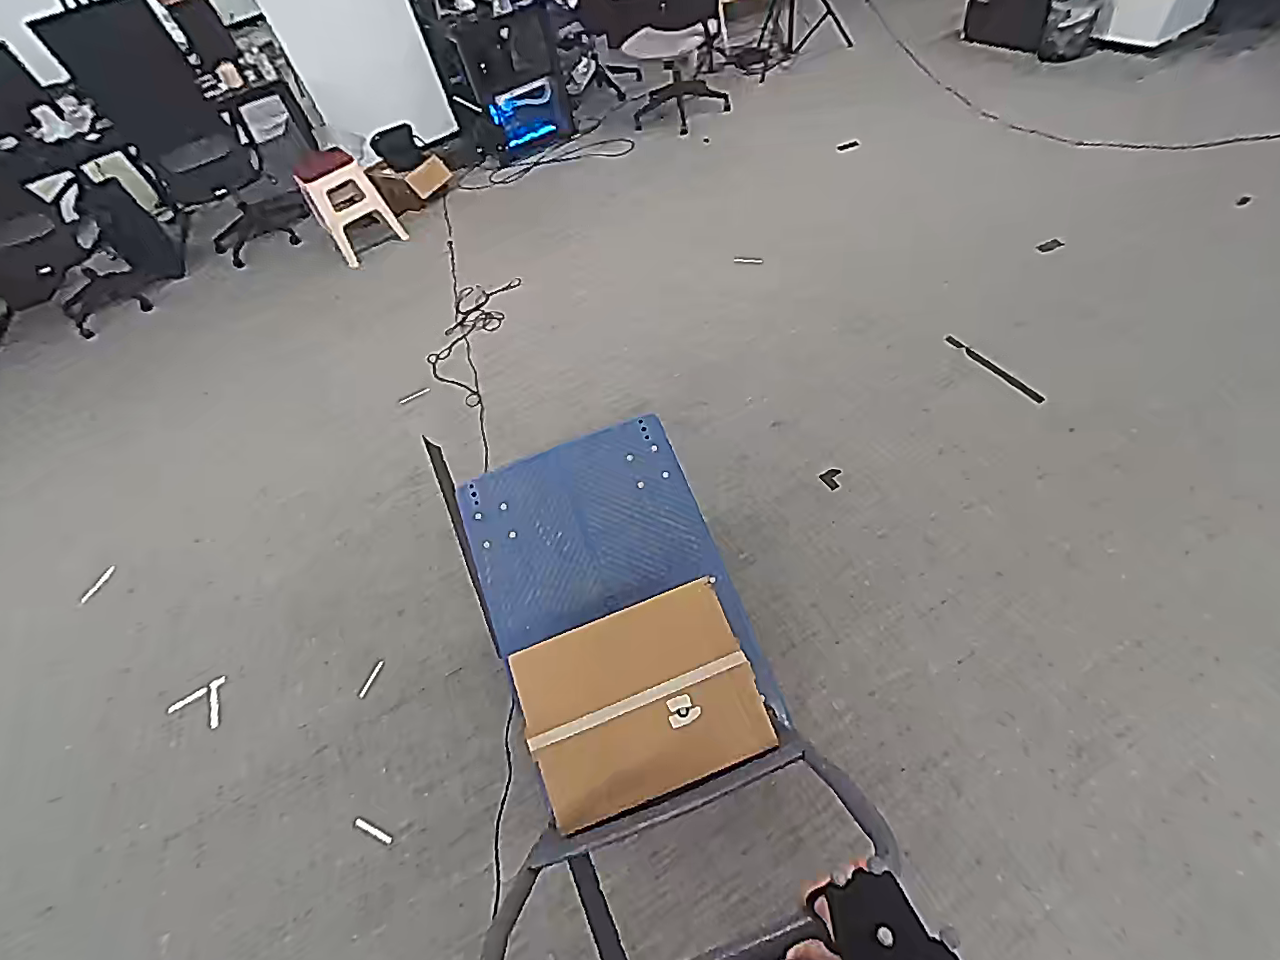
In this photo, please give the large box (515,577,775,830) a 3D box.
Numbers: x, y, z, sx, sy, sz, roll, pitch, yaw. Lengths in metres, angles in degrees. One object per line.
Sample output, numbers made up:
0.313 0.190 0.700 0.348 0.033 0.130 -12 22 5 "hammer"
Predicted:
0.008 0.441 1.122 0.408 0.320 0.320 -22 73 -4 "large box"
